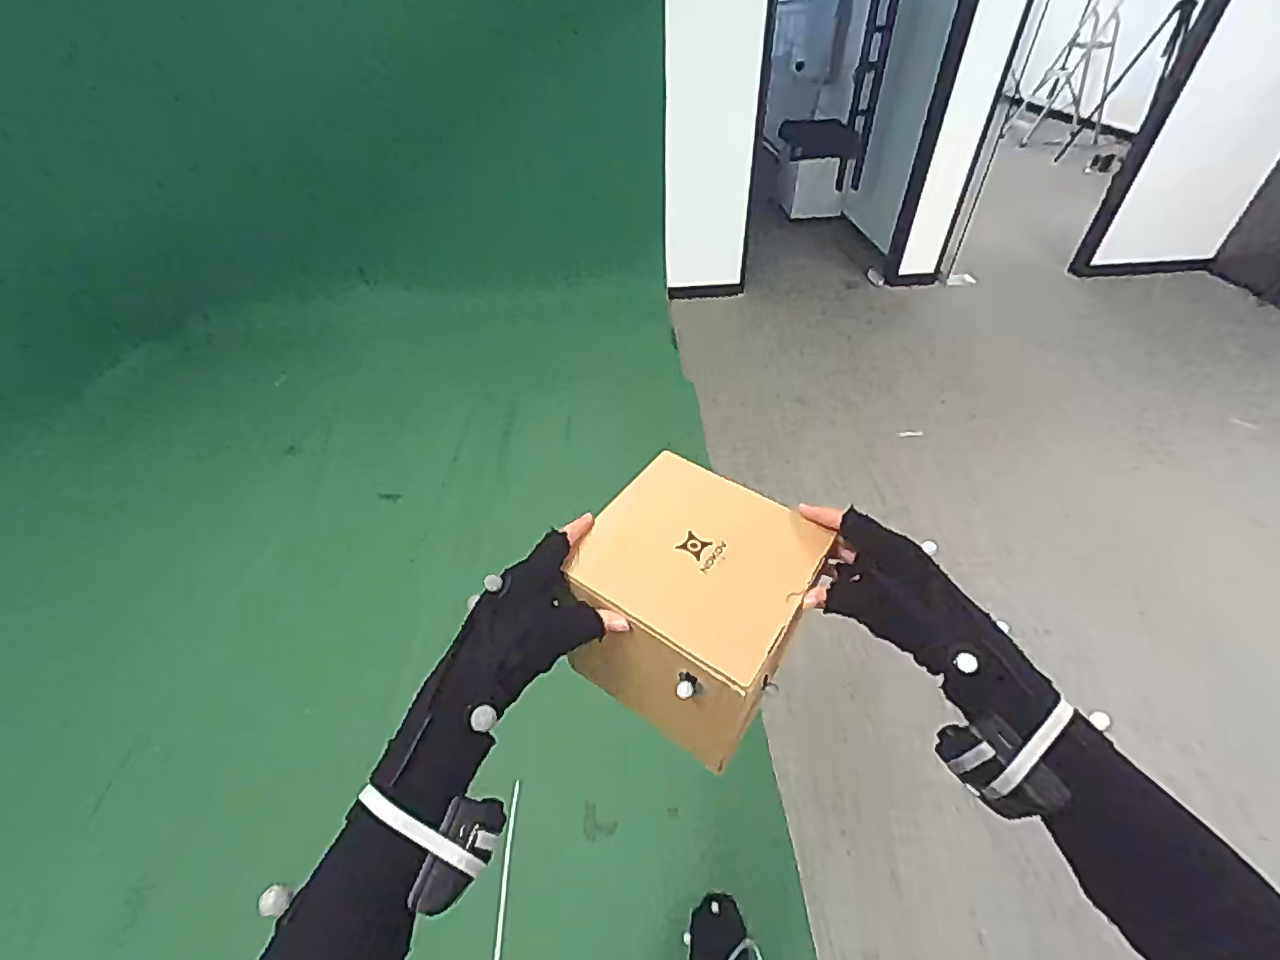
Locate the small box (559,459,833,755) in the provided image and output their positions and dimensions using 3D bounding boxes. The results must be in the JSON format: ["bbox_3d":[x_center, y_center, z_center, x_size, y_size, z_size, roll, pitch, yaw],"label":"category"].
[{"bbox_3d":[0.046,0.117,0.502,0.179,0.176,0.168,28,50,23],"label":"small box"}]
